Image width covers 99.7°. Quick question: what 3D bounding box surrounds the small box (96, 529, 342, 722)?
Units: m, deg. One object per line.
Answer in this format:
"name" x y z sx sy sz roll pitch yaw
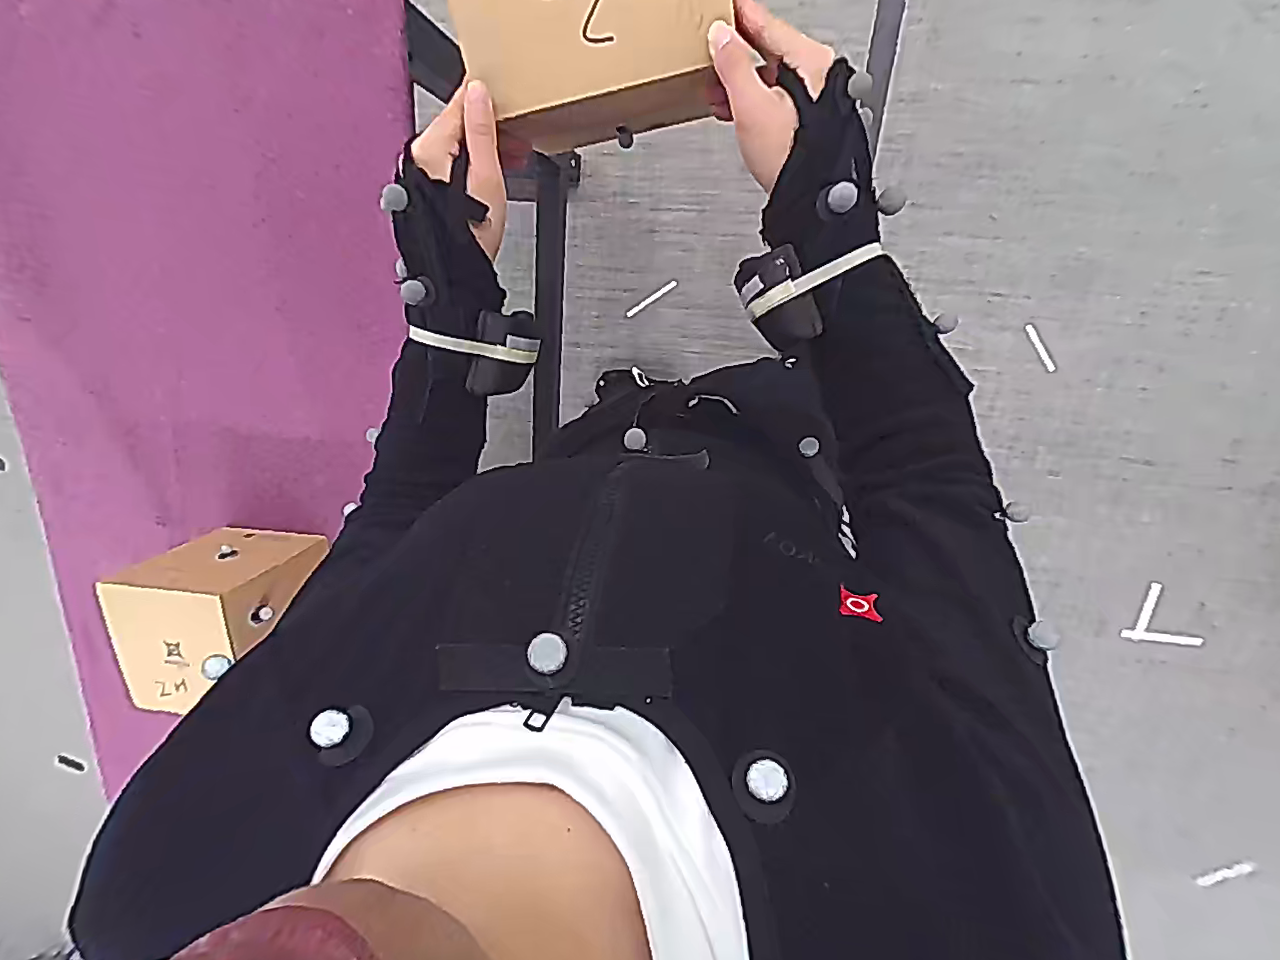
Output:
"small box" -0.521 0.174 0.697 0.168 0.176 0.179 3 107 10
